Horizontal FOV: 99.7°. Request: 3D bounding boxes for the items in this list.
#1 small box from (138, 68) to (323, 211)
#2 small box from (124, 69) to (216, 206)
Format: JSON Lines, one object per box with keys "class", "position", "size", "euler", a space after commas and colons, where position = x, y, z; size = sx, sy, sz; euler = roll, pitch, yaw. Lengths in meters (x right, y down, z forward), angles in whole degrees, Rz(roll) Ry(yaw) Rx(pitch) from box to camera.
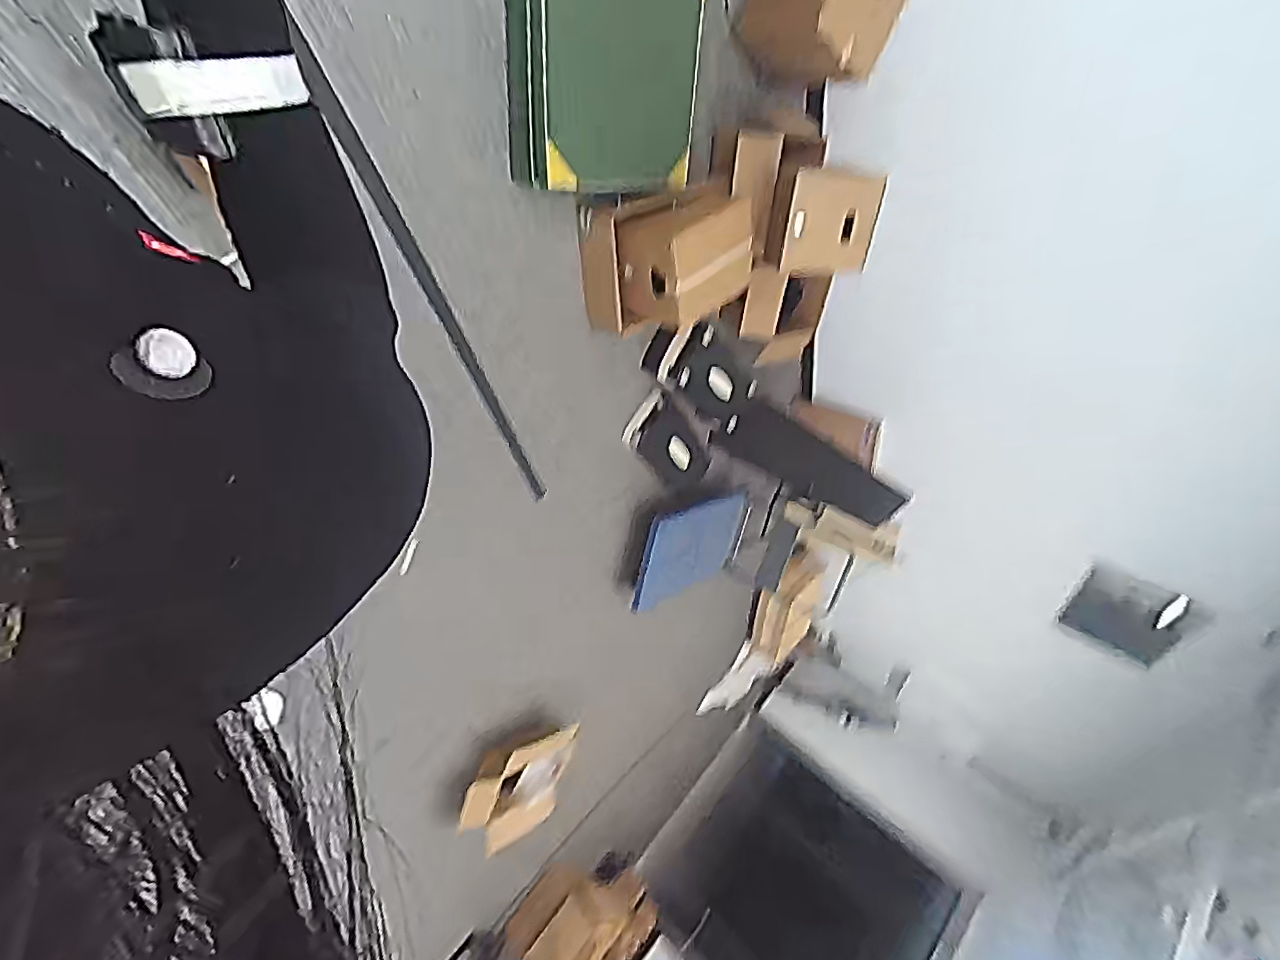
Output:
{"class": "small box", "position": [-0.697, -0.585, 0.924], "size": [0.179, 0.176, 0.168], "euler": [-40, 141, -25]}
{"class": "small box", "position": [-0.809, -0.651, 1.022], "size": [0.168, 0.176, 0.179], "euler": [-41, 143, -26]}
